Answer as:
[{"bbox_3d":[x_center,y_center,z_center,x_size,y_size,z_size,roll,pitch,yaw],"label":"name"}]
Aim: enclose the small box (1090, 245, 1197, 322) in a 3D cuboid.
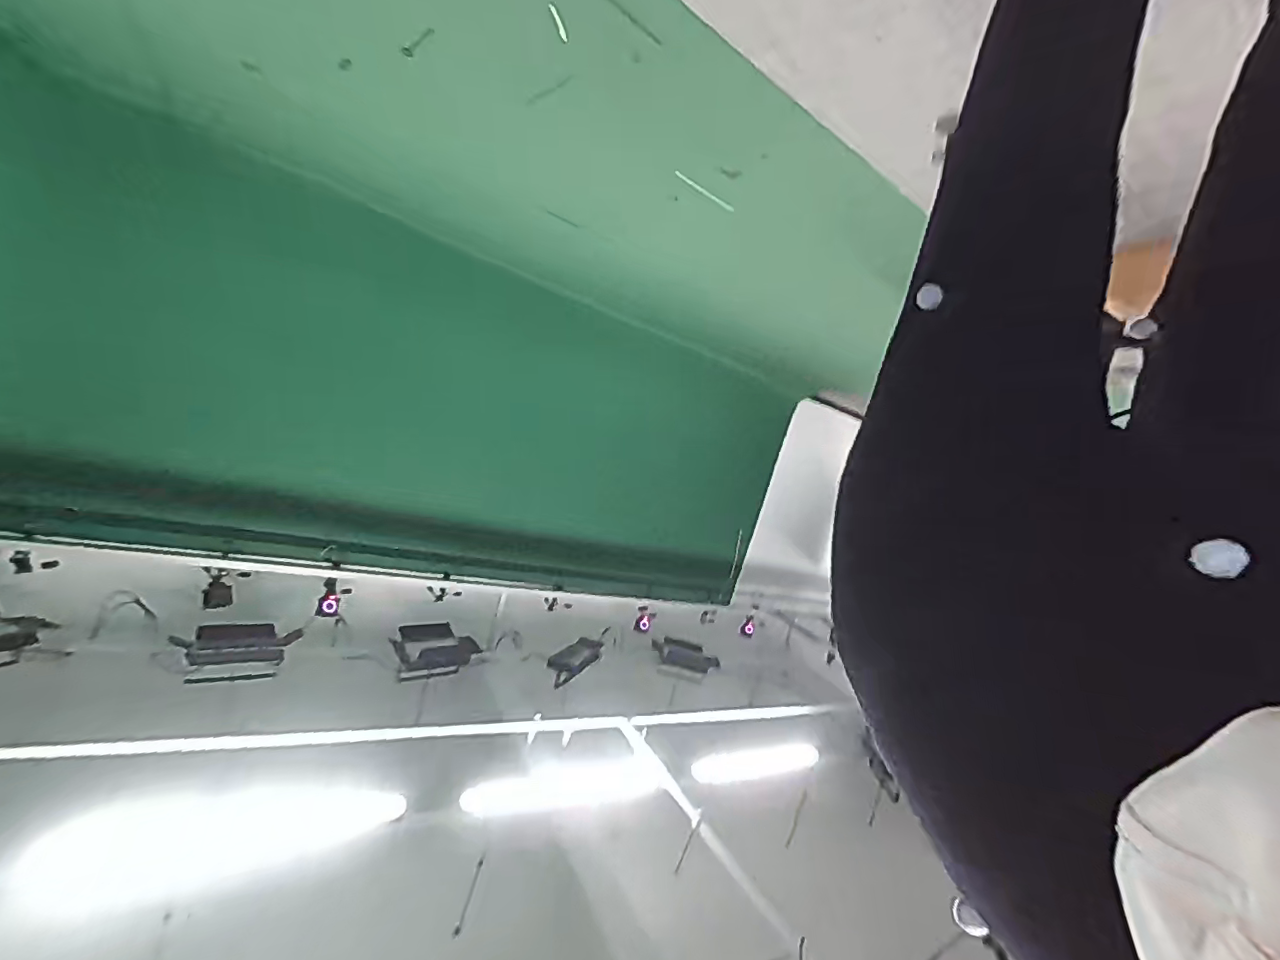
[{"bbox_3d":[1.493,-0.582,1.603,0.179,0.176,0.168,13,-174,-30],"label":"small box"}]
